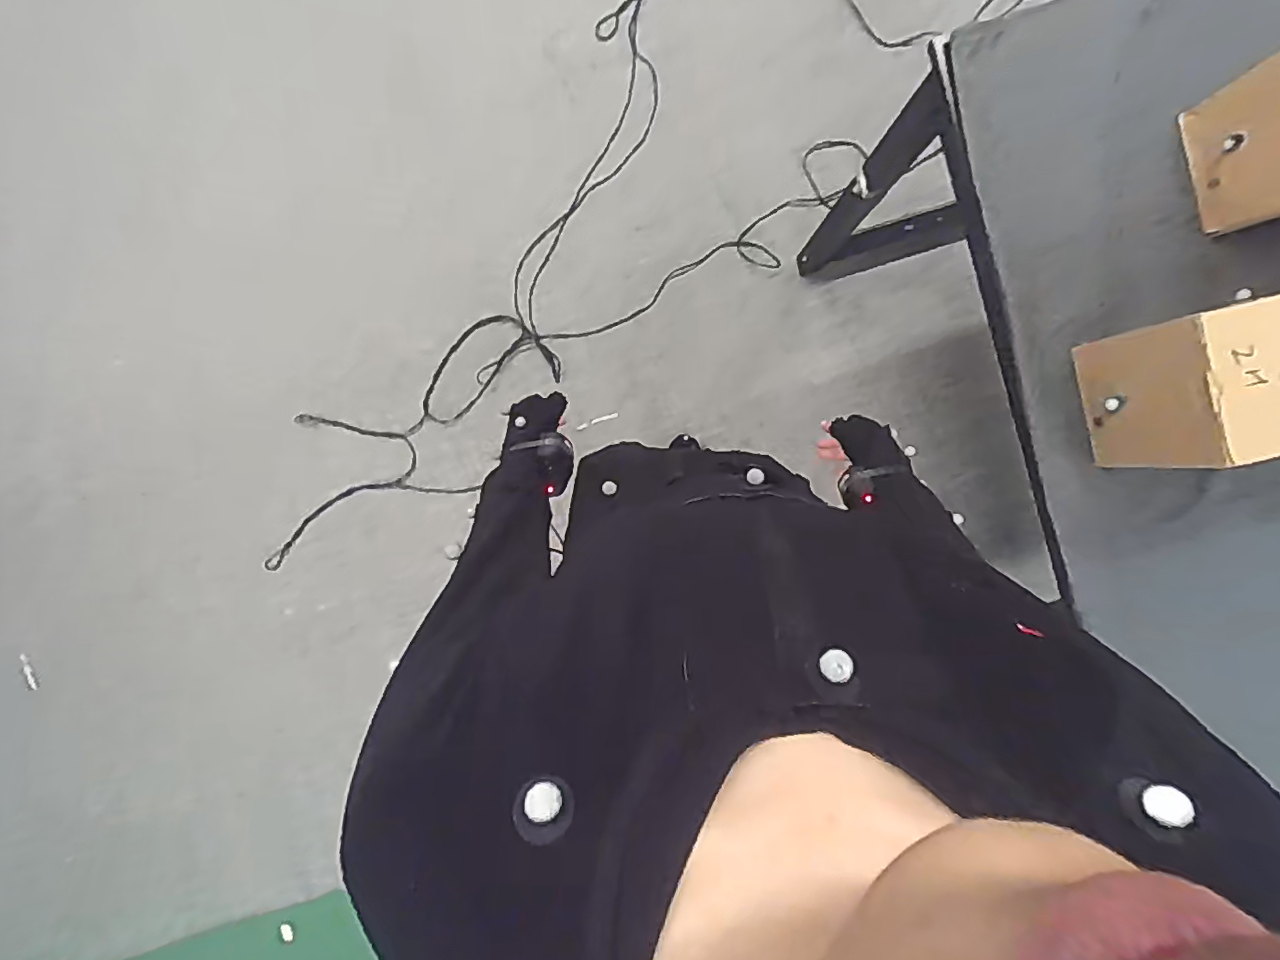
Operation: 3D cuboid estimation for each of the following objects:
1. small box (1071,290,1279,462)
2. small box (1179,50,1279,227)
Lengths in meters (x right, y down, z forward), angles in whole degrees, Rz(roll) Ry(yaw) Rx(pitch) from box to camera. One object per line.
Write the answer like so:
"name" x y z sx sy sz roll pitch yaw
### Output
"small box" 0.676 -0.122 0.646 0.179 0.176 0.168 -14 92 0
"small box" 0.807 -0.427 0.632 0.179 0.176 0.168 -16 93 2
